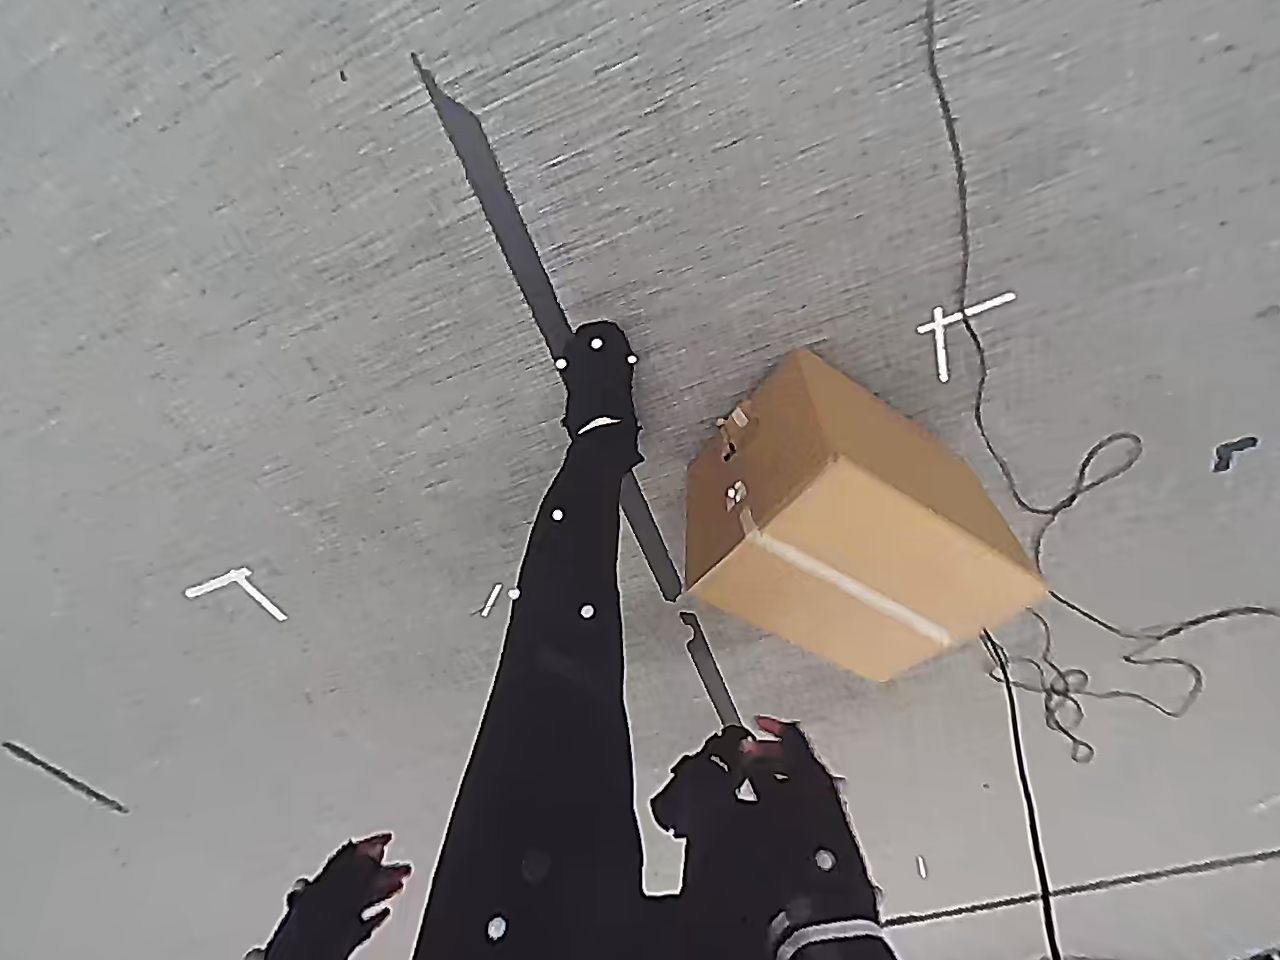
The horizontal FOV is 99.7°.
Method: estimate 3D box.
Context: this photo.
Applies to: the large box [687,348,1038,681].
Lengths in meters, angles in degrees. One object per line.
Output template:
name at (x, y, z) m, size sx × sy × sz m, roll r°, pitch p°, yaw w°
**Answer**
large box at (0.326, 0.062, 0.894) m, size 0.408 × 0.320 × 0.320 m, roll 30°, pitch 125°, yaw -15°
